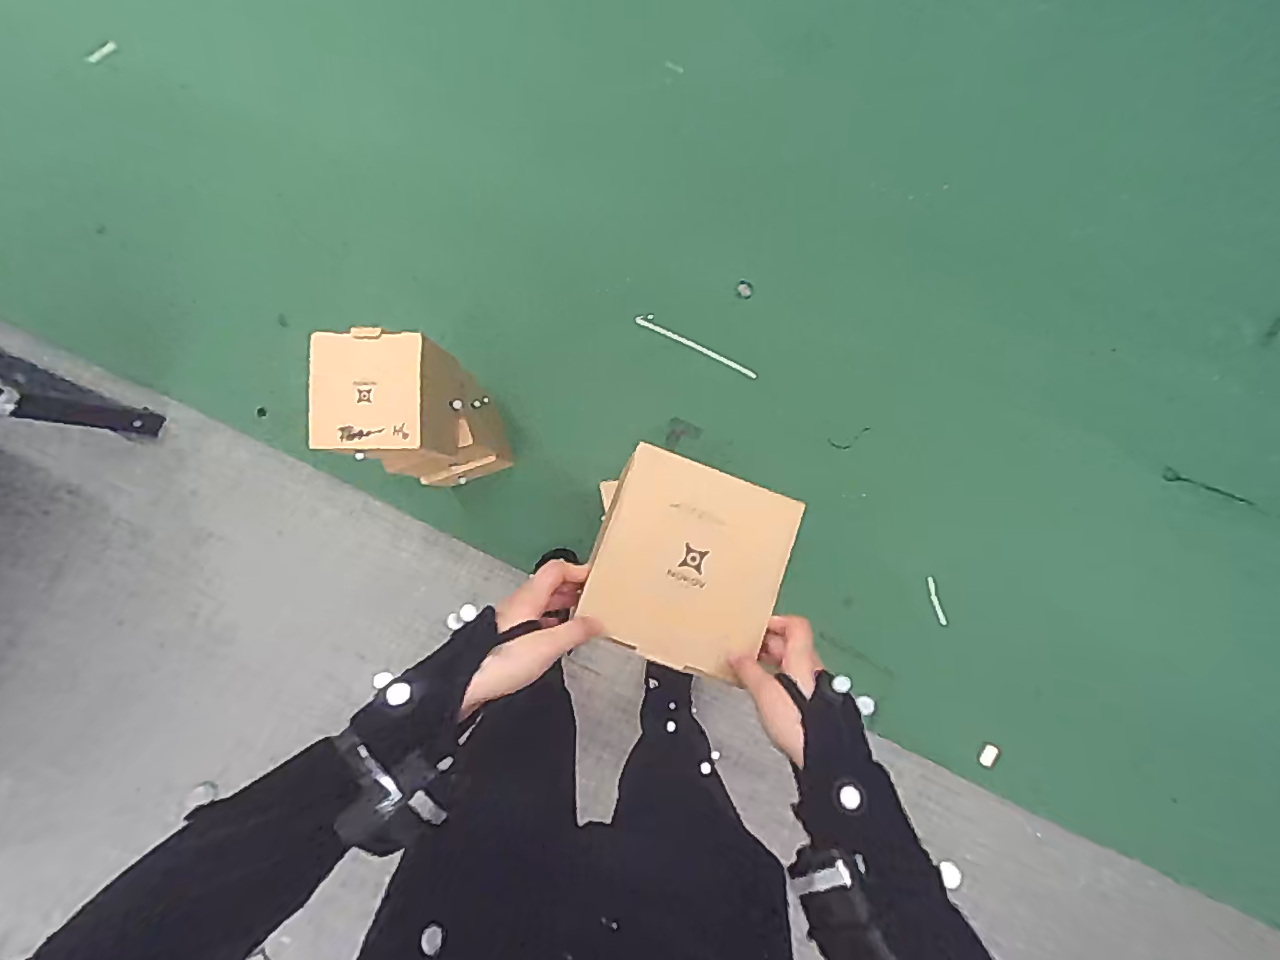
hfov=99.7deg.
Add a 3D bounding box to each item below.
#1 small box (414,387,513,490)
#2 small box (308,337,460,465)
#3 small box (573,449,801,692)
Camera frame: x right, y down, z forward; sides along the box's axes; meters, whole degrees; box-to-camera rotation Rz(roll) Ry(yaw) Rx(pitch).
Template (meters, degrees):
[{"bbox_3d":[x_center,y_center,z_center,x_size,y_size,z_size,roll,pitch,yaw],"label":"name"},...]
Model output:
[{"bbox_3d":[-0.398,-0.084,1.196,0.168,0.176,0.179,-19,87,0],"label":"small box"},{"bbox_3d":[-0.399,-0.118,0.869,0.168,0.176,0.179,0,88,1],"label":"small box"},{"bbox_3d":[0.037,0.089,0.557,0.168,0.176,0.179,19,80,-5],"label":"small box"}]
